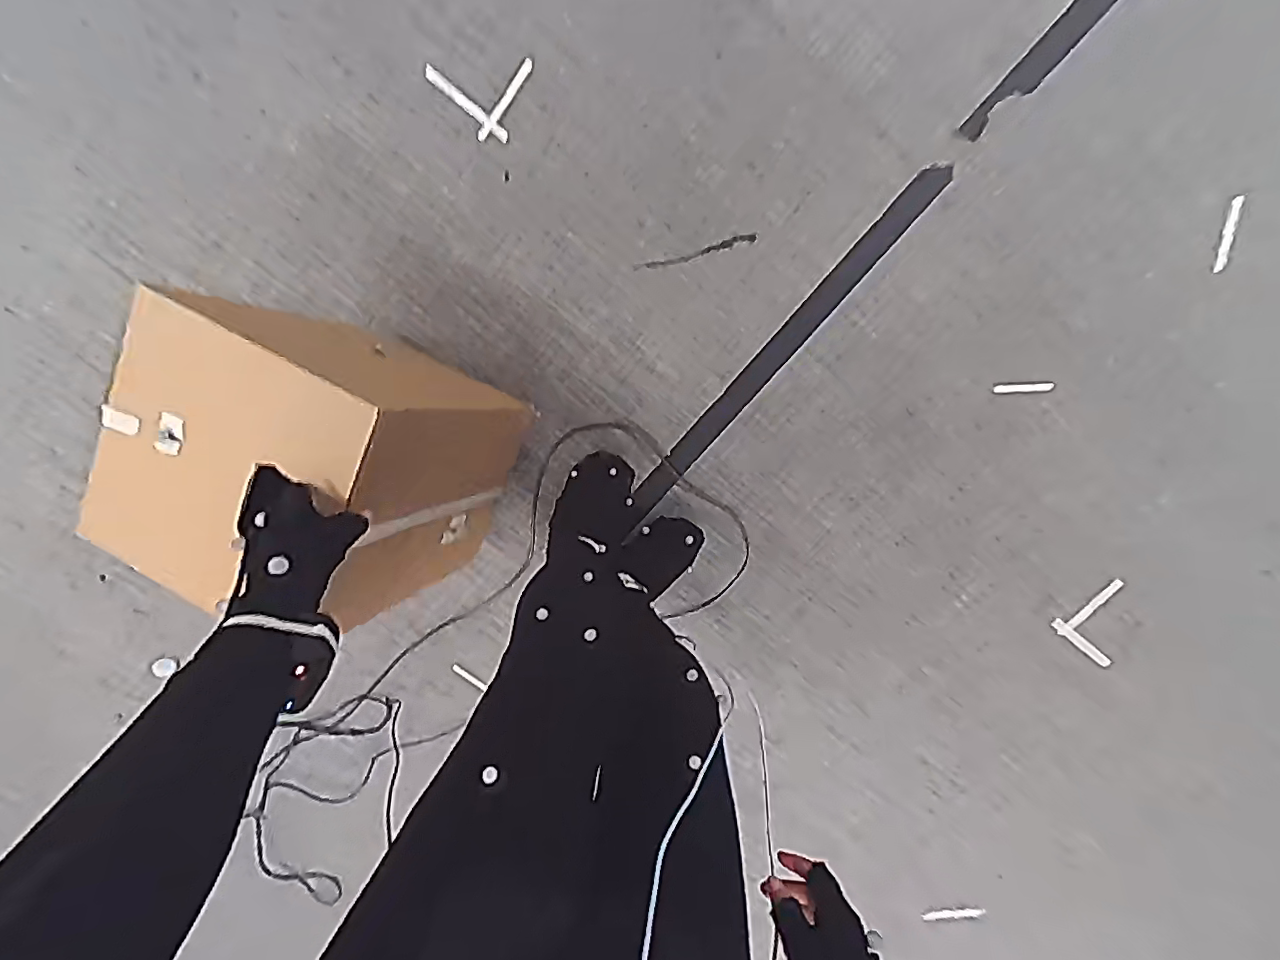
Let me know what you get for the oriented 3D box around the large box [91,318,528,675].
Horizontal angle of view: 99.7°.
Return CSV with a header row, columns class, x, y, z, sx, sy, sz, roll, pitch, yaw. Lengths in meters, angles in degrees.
class,x,y,z,sx,sy,sz,roll,pitch,yaw
large box,-0.426,-0.007,0.778,0.320,0.408,0.320,28,102,7
